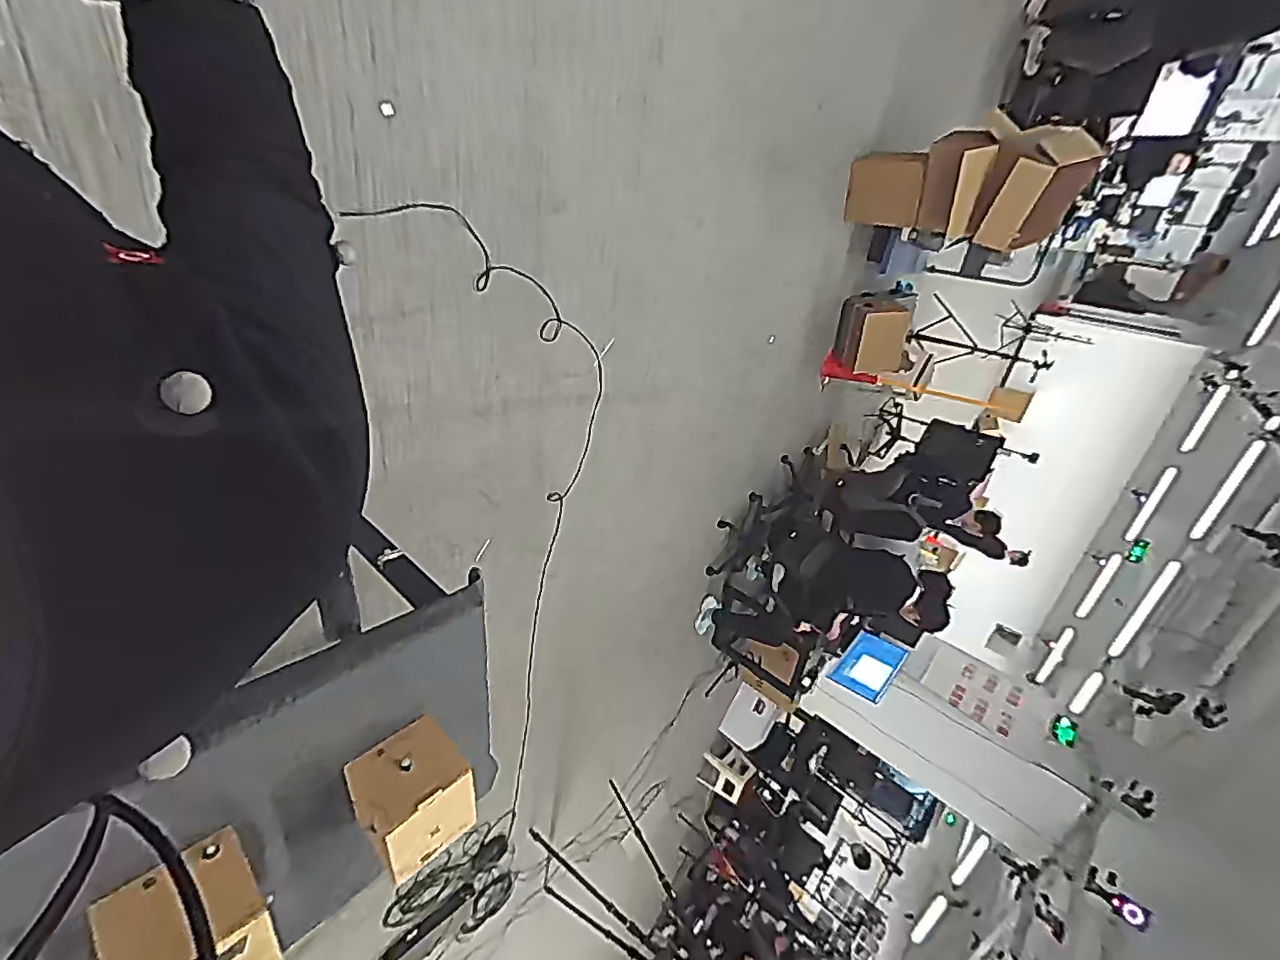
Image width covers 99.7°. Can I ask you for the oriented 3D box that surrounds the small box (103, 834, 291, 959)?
[{"bbox_3d":[-0.643,0.670,0.793,0.168,0.176,0.179,-21,129,-44],"label":"small box"}]

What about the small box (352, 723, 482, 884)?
[{"bbox_3d":[-0.423,0.598,1.029,0.168,0.176,0.179,-24,130,-42],"label":"small box"}]
